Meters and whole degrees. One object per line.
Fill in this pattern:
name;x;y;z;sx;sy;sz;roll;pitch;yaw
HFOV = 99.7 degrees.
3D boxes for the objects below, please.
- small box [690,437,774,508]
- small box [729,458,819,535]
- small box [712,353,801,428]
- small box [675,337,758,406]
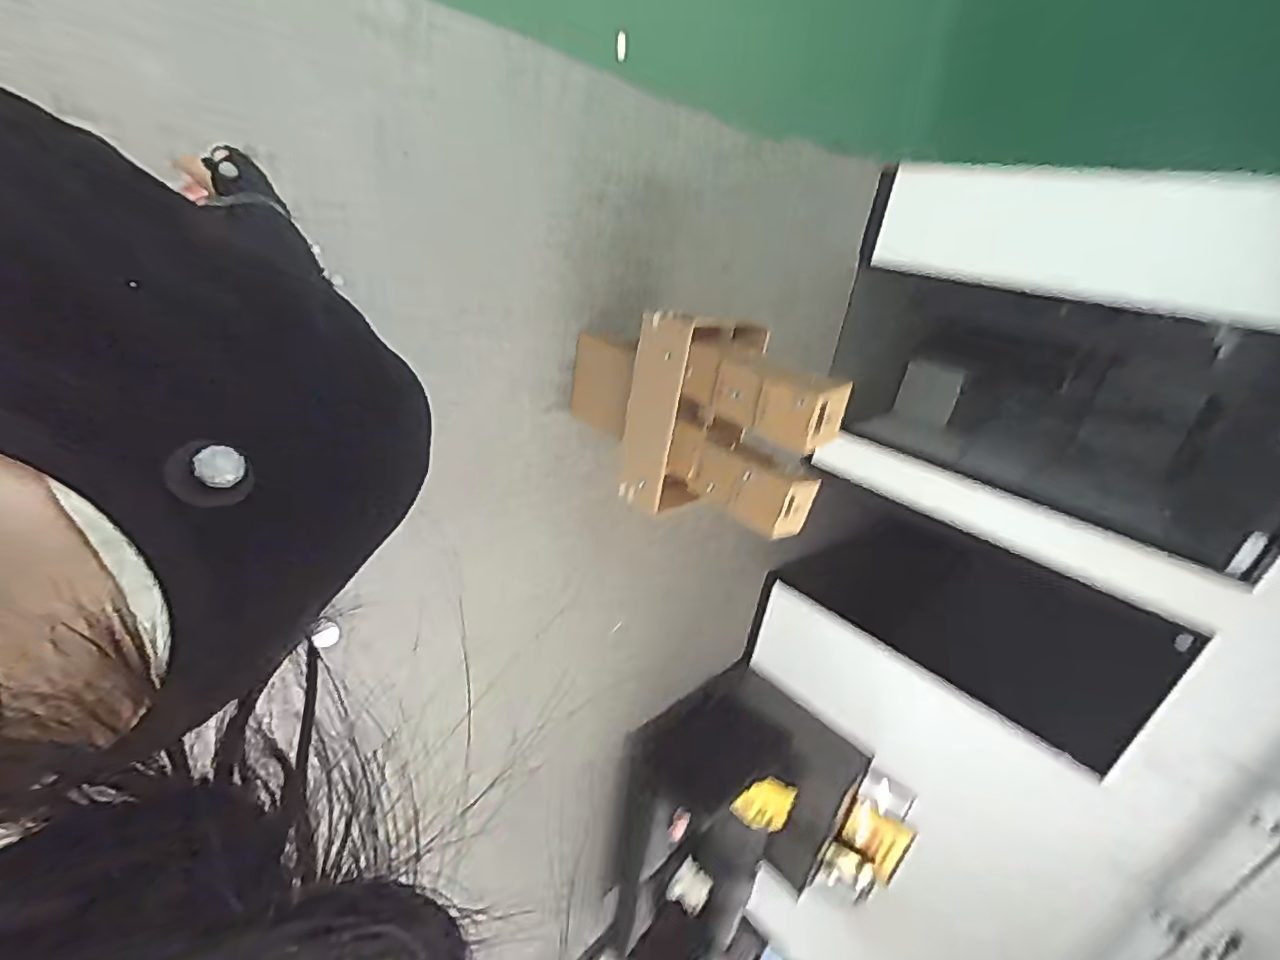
small box;0.281;-0.029;1.688;0.179;0.176;0.168;-8;120;-45
small box;0.389;0.043;1.587;0.179;0.176;0.168;-5;118;-47
small box;0.336;-0.269;1.586;0.179;0.176;0.168;-18;127;-40
small box;0.237;-0.346;1.692;0.179;0.176;0.168;-18;126;-40
